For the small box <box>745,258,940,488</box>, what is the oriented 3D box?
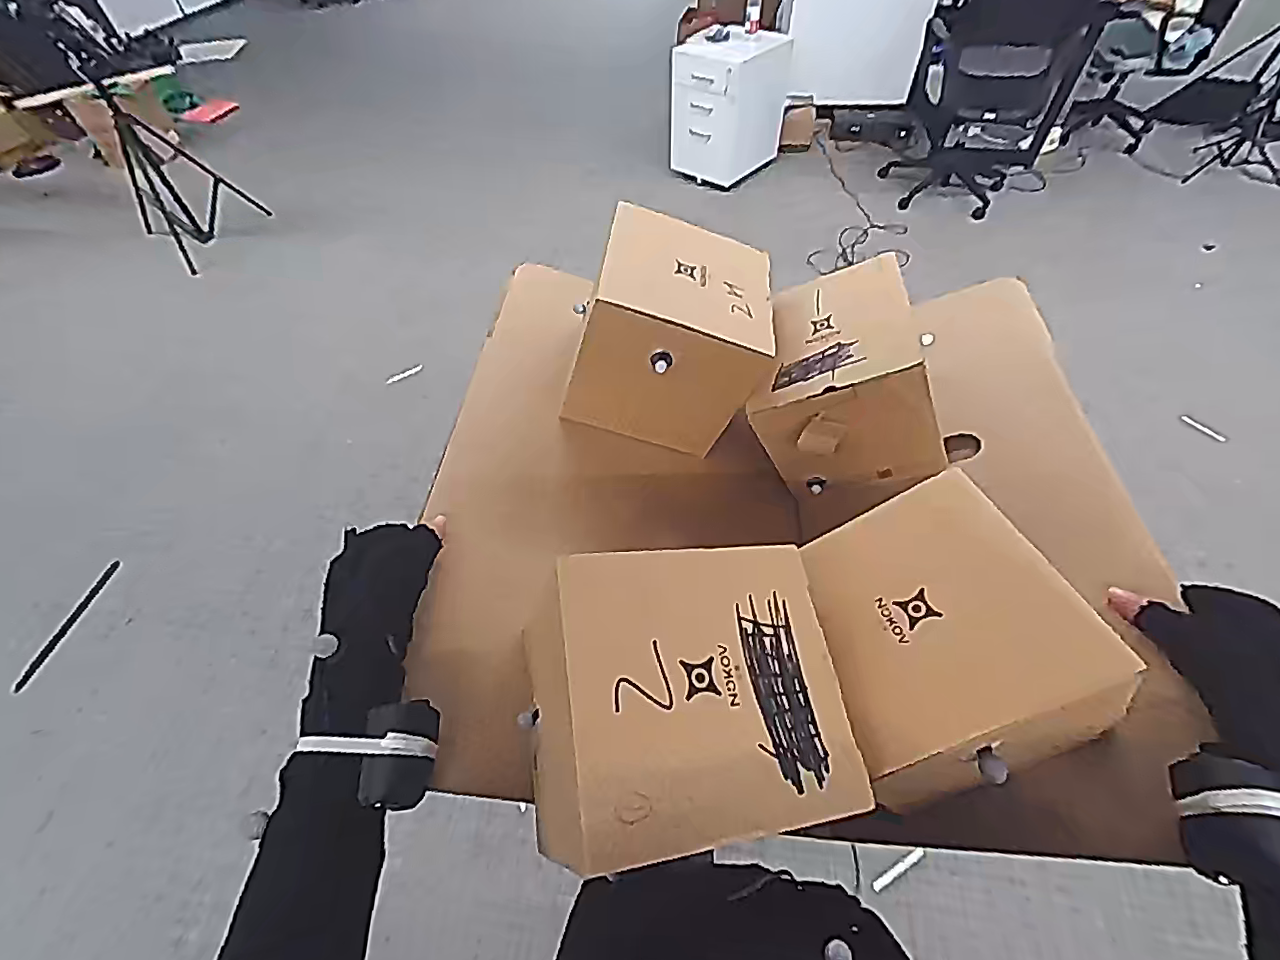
[{"bbox_3d":[0.229,-0.106,0.618,0.168,0.176,0.179,-14,48,28],"label":"small box"}]
